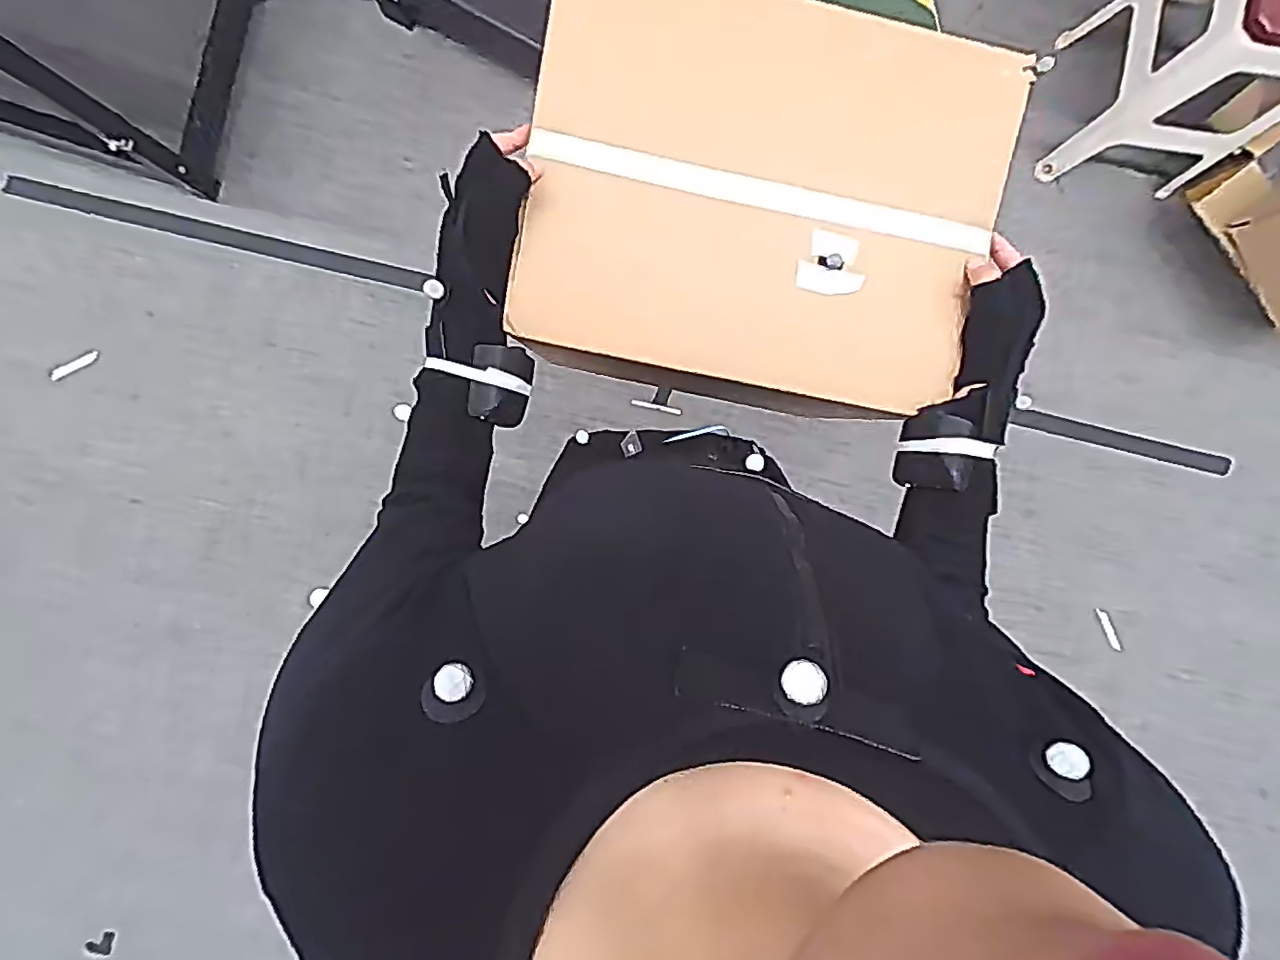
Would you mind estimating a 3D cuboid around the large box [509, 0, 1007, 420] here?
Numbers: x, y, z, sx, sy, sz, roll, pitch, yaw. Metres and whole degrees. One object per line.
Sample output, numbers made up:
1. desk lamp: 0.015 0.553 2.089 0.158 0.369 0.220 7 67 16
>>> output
1. large box: 0.092 -0.256 0.622 0.408 0.320 0.320 11 98 -5
